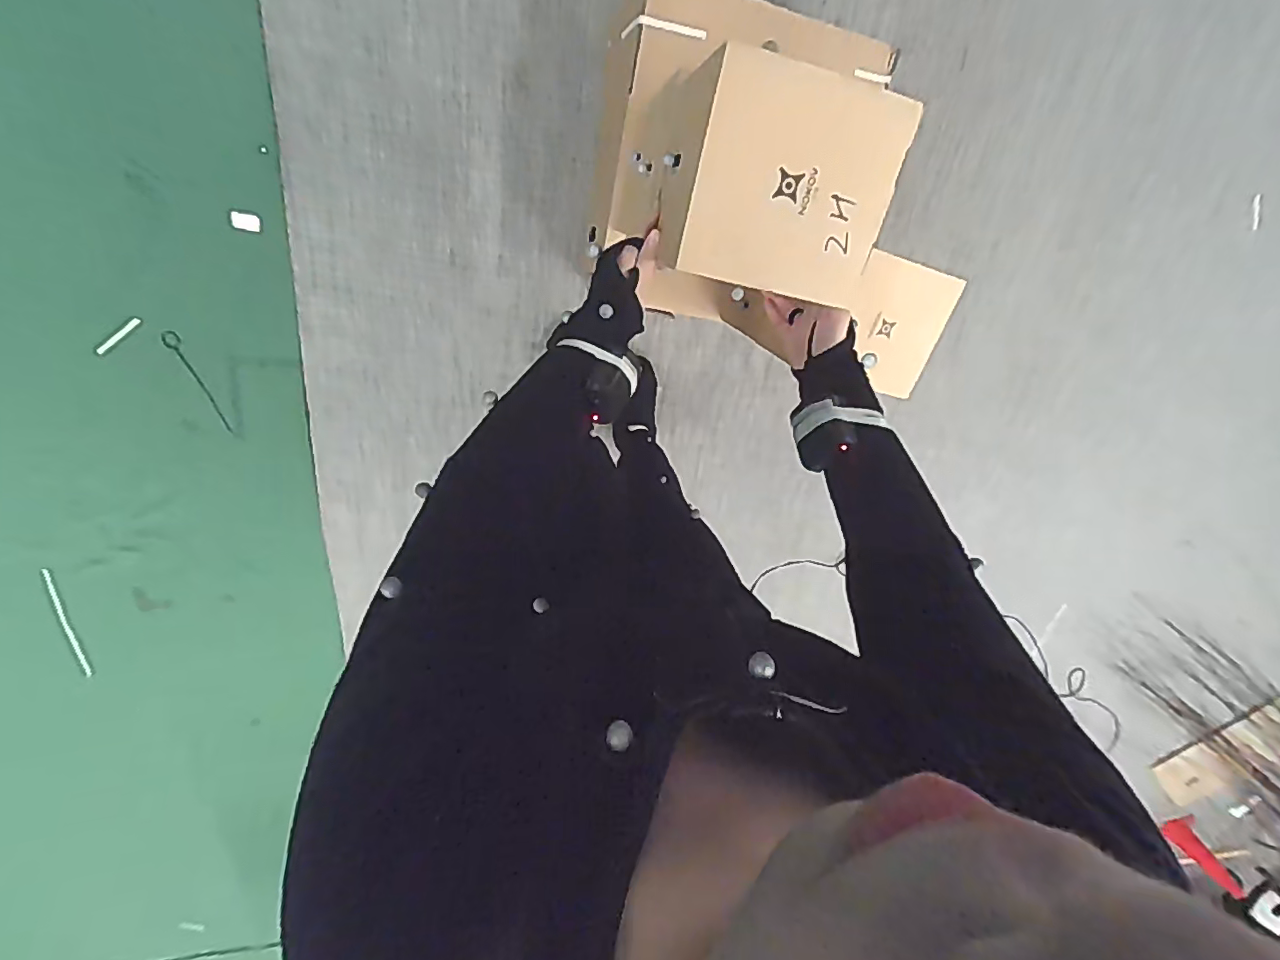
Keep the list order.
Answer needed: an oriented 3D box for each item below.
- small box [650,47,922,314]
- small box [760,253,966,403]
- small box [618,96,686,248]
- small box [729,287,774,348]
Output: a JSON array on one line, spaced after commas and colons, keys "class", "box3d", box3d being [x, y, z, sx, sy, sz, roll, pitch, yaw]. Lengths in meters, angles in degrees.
[{"class": "small box", "box3d": [0.117, -0.272, 0.521, 0.179, 0.176, 0.168, 8, 115, -13]}, {"class": "small box", "box3d": [0.300, -0.228, 0.767, 0.179, 0.176, 0.168, 10, 115, -16]}, {"class": "small box", "box3d": [0.069, -0.431, 0.807, 0.168, 0.176, 0.179, 10, 113, -14]}, {"class": "small box", "box3d": [0.264, -0.310, 0.904, 0.168, 0.176, 0.179, 9, 114, -16]}]
